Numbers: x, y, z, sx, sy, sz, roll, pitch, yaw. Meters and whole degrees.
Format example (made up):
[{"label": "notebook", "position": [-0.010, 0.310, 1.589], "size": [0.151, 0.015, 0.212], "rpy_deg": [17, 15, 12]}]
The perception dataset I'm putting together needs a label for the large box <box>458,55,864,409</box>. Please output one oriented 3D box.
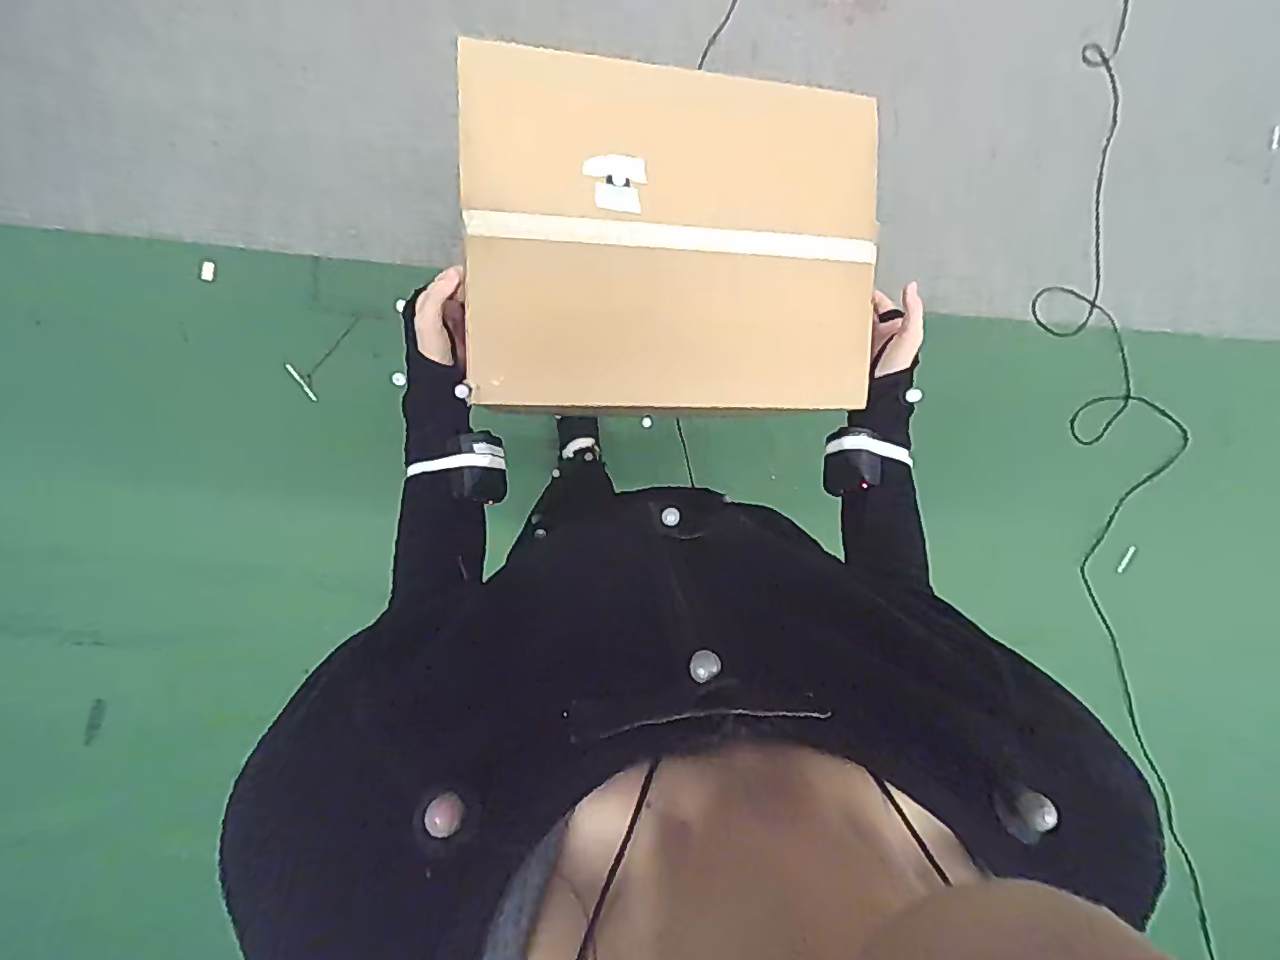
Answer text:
[{"label": "large box", "position": [0.008, -0.246, 0.674], "size": [0.408, 0.320, 0.320], "rpy_deg": [-1, 95, -11]}]
